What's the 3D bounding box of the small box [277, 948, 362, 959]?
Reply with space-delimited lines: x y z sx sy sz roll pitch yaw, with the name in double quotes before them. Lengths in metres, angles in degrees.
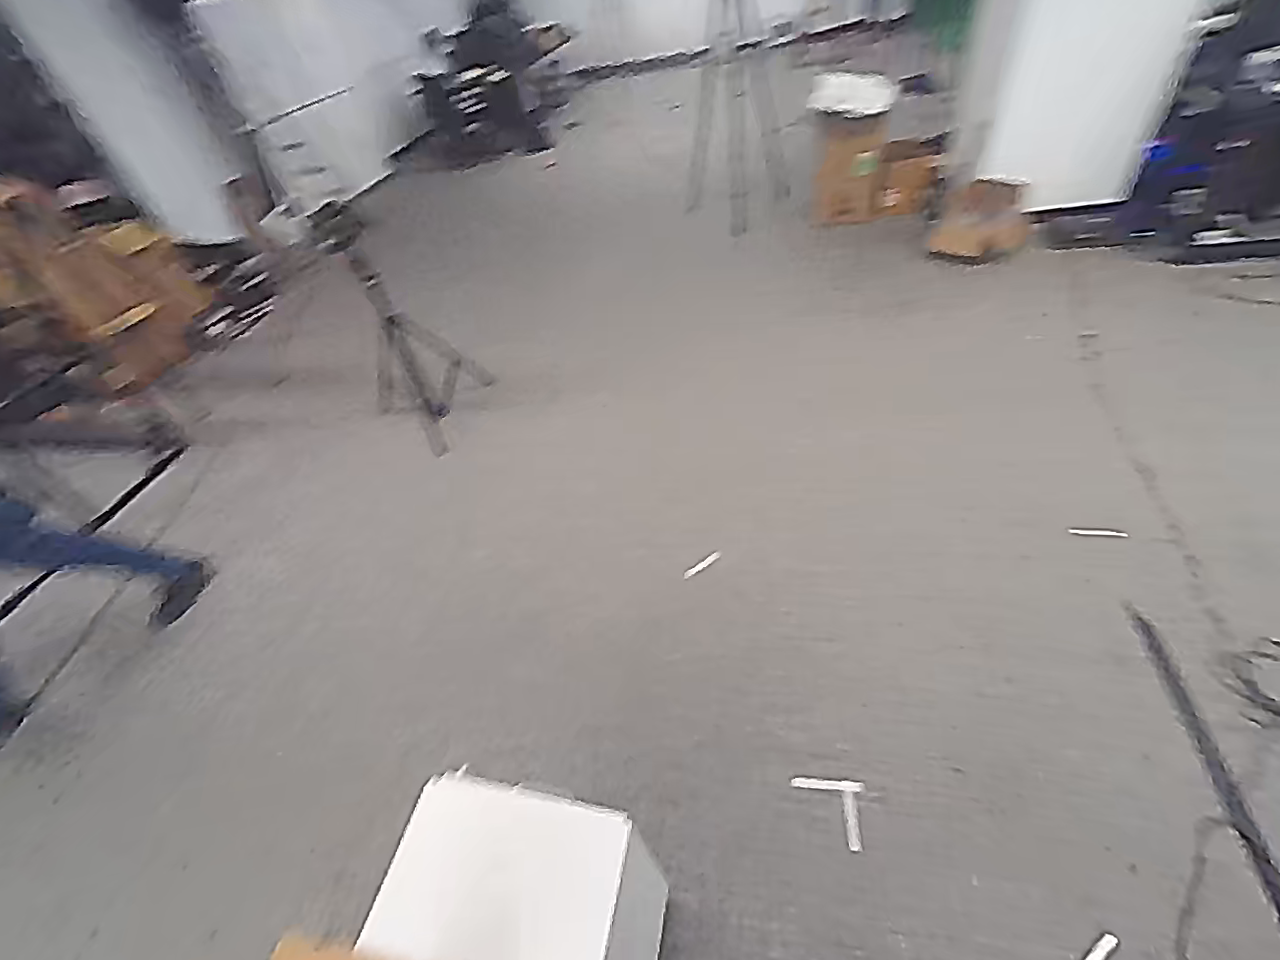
"small box" -0.314 0.633 0.578 0.179 0.176 0.168 1 45 14
